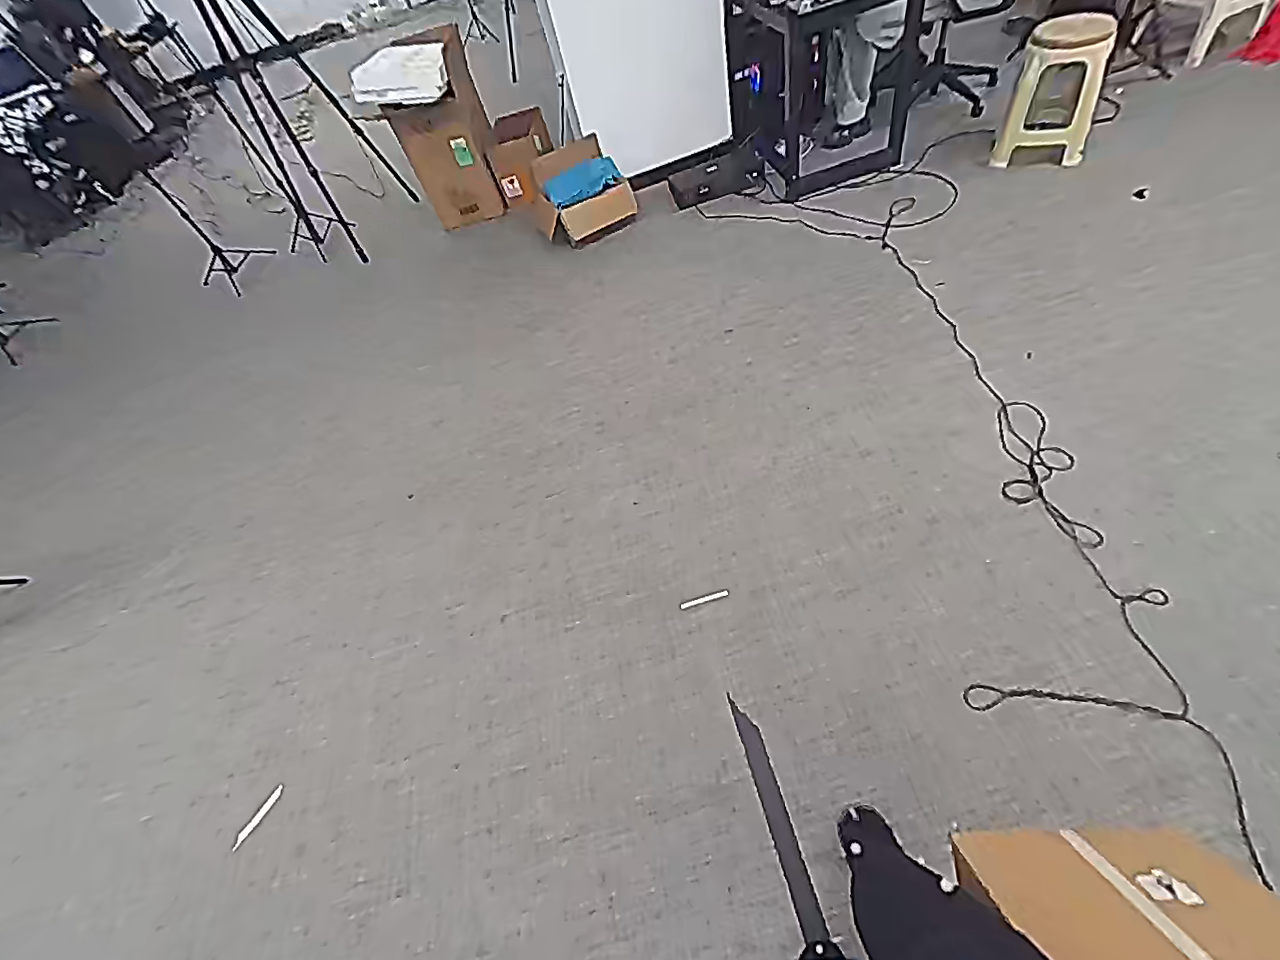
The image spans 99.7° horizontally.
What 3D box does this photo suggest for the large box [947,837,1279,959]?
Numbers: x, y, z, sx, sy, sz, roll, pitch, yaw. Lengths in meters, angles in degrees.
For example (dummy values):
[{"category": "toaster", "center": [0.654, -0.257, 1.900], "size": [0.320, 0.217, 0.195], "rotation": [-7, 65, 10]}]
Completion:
[{"category": "large box", "center": [0.603, 0.666, 0.594], "size": [0.320, 0.408, 0.320], "rotation": [-5, 83, 9]}]
